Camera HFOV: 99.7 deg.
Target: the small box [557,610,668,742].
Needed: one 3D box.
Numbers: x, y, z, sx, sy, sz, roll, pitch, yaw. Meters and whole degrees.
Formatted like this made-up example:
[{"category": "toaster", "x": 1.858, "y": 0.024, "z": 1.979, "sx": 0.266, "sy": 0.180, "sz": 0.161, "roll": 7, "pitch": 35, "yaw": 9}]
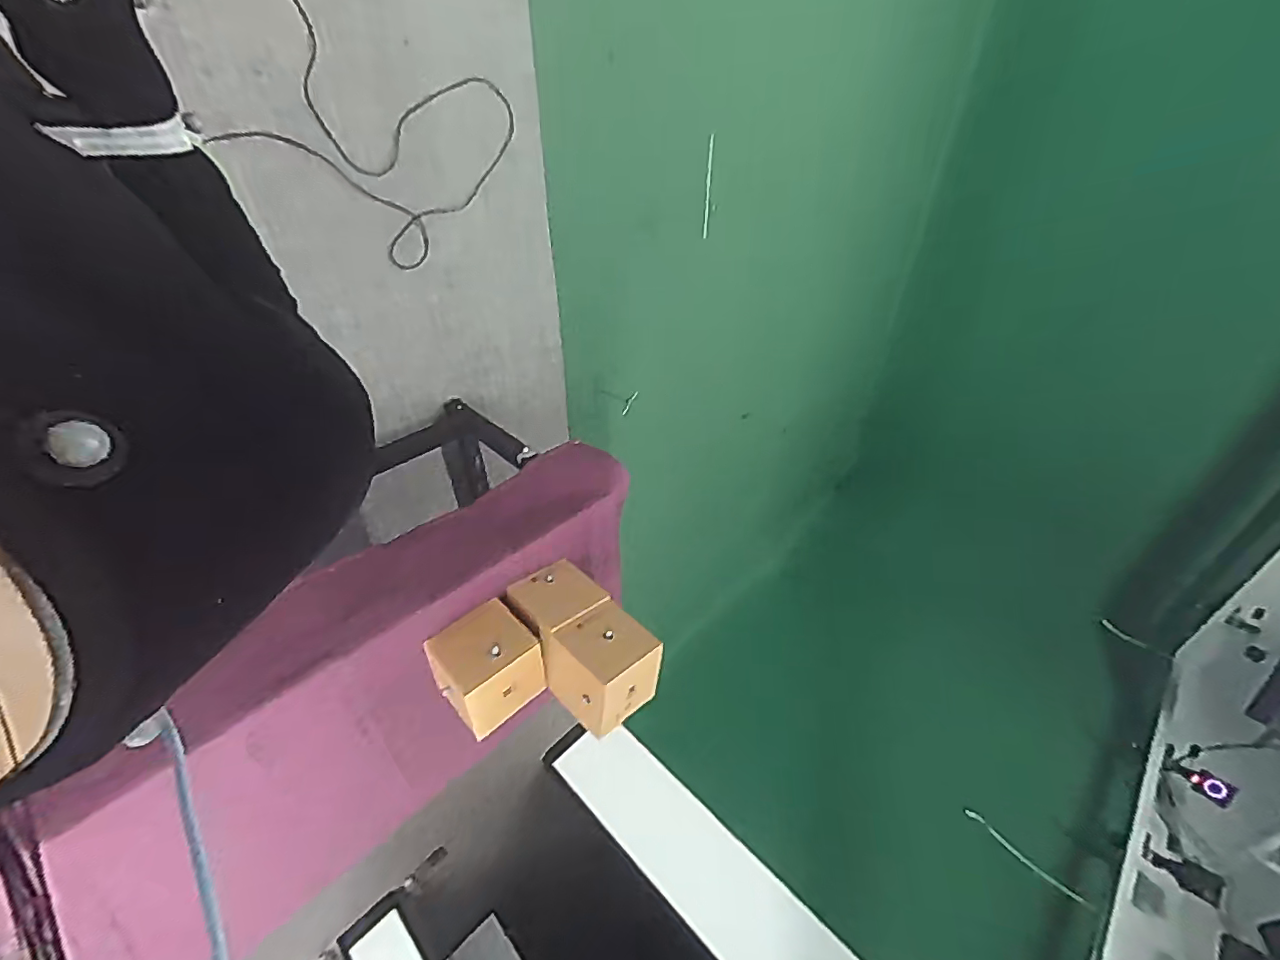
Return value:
[{"category": "small box", "x": -0.063, "y": 0.403, "z": 1.152, "sx": 0.168, "sy": 0.176, "sz": 0.179, "roll": -24, "pitch": 132, "yaw": -41}]
